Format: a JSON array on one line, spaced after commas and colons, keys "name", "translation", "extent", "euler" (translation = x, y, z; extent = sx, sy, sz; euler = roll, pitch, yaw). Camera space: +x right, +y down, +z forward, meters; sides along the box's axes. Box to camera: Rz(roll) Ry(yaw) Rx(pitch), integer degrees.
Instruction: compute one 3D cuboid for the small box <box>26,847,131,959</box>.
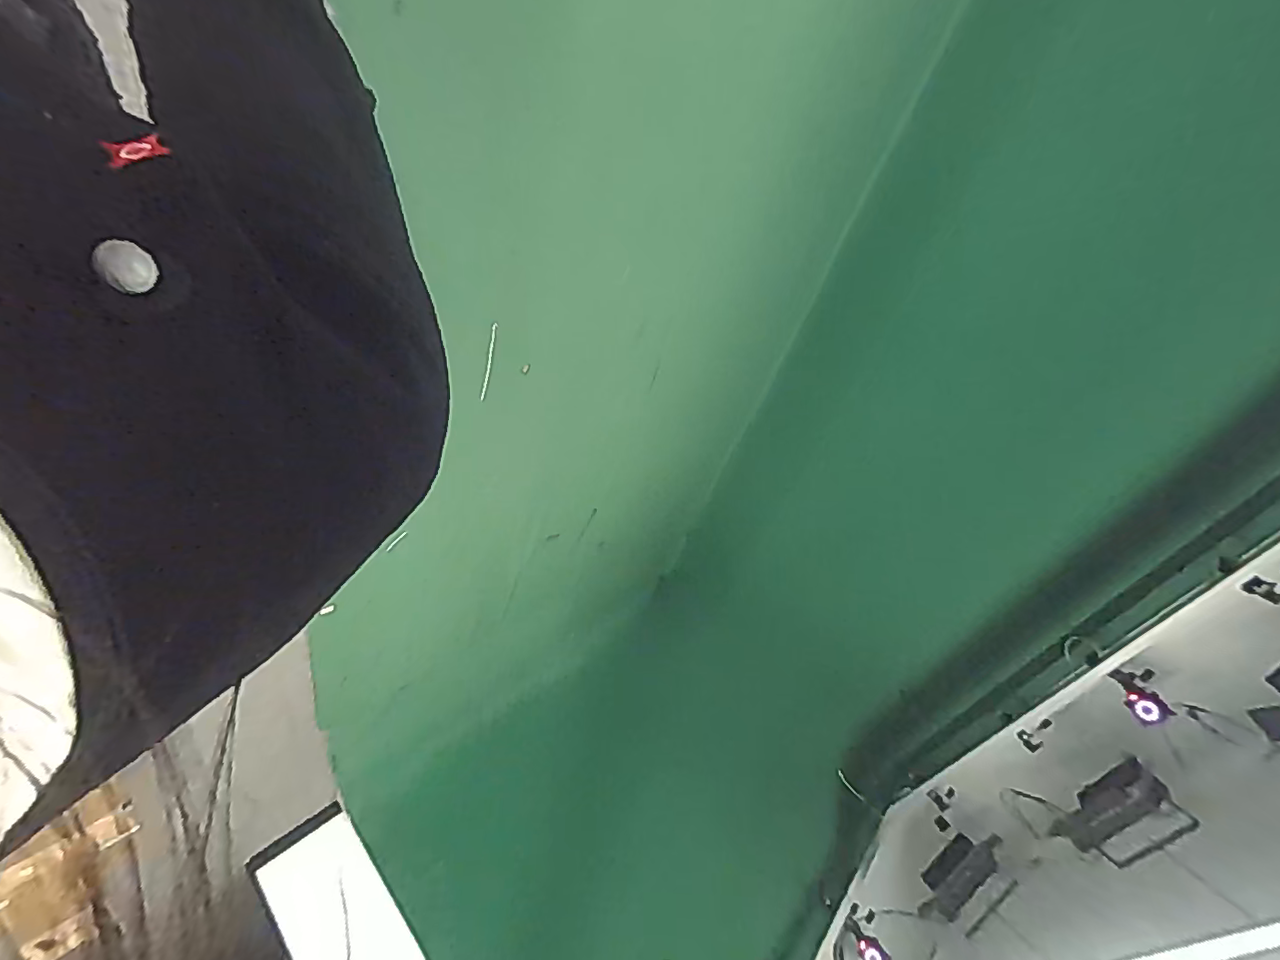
[{"name": "small box", "translation": [-1.592, 1.205, 1.533], "extent": [0.179, 0.176, 0.168], "euler": [-19, 138, -49]}]
